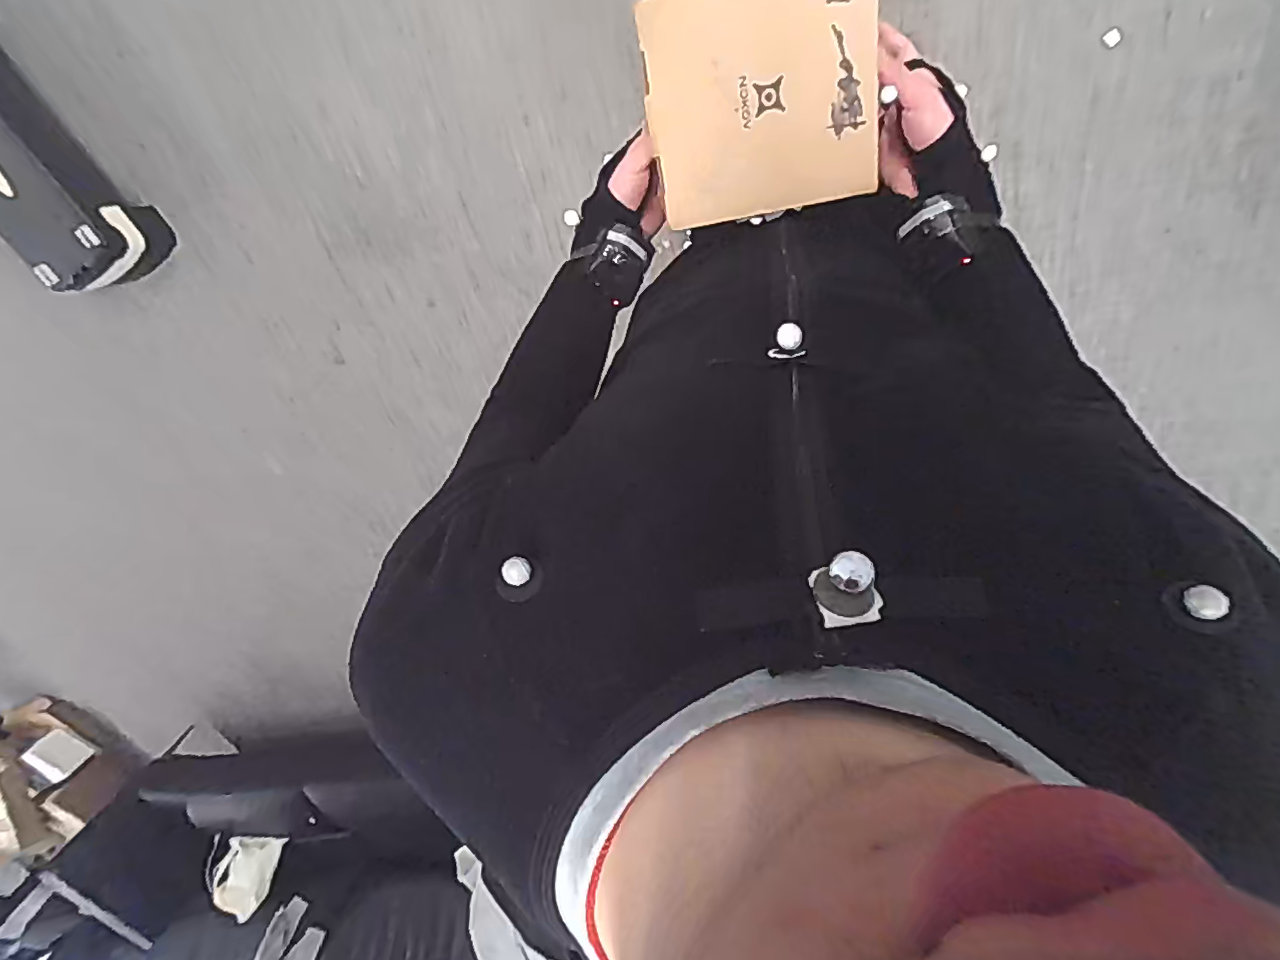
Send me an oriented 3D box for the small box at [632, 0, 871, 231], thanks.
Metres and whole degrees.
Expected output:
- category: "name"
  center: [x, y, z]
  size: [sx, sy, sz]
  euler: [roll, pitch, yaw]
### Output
- category: "small box"
  center: [0.110, -0.334, 0.491]
  size: [0.179, 0.176, 0.168]
  euler: [-1, 120, 19]
